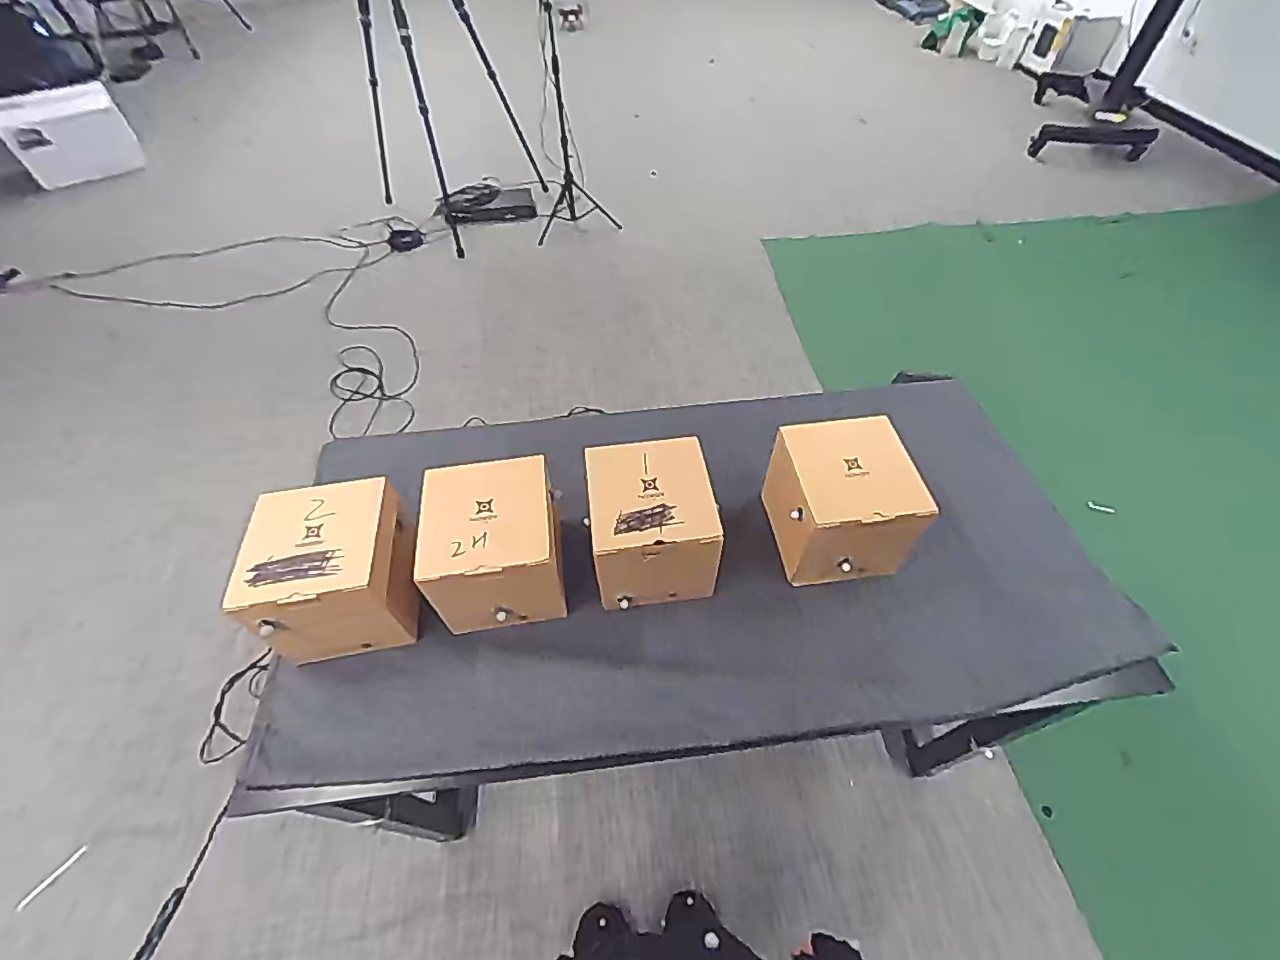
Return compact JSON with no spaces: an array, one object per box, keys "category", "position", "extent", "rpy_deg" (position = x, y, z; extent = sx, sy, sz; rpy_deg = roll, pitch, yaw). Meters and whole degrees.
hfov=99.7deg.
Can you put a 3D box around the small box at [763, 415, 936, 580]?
[{"category":"small box","position":[0.293,0.028,0.805],"extent":[0.168,0.176,0.179],"rpy_deg":[-6,53,-4]}]
